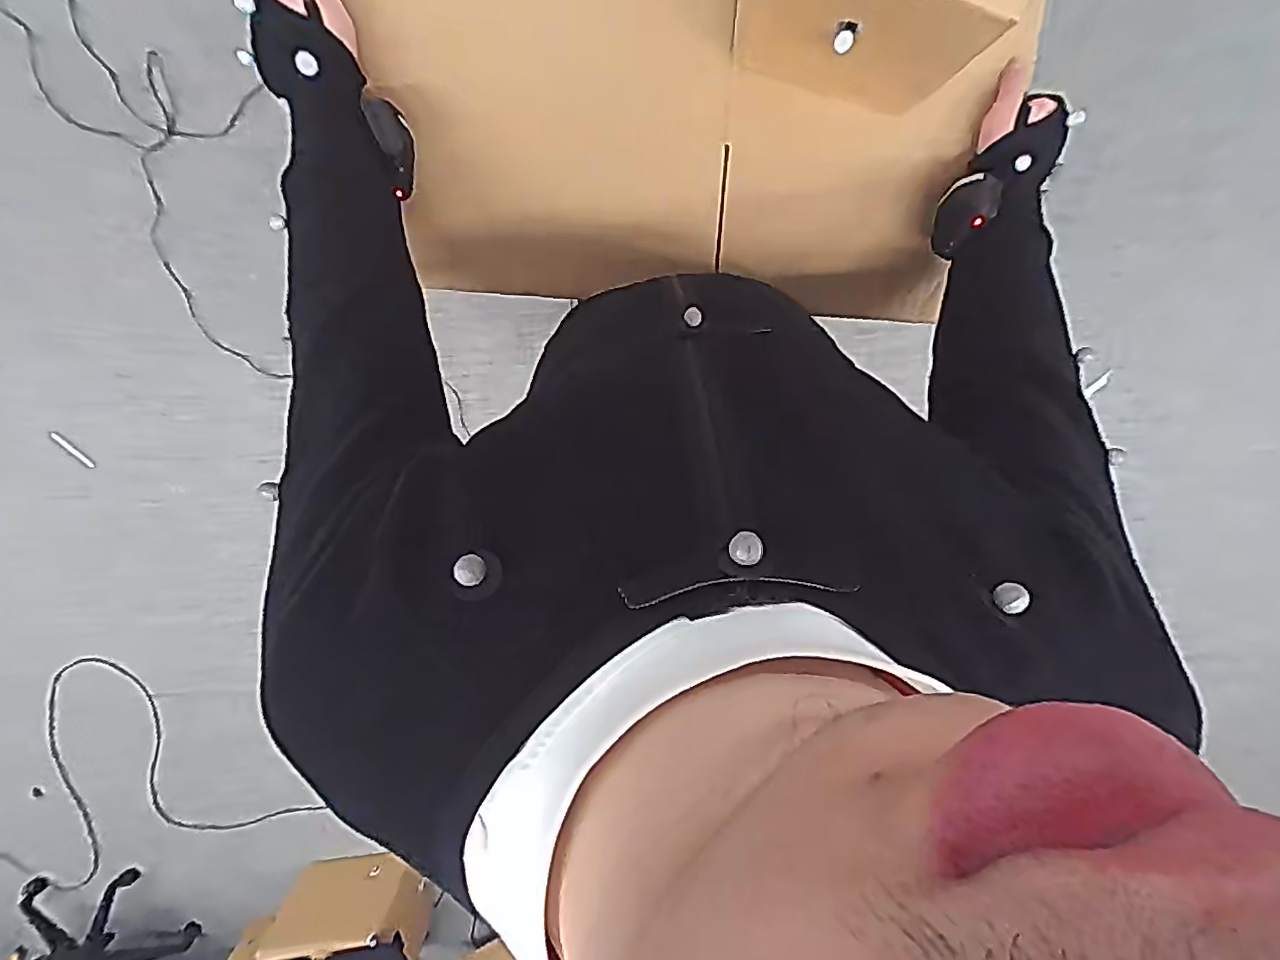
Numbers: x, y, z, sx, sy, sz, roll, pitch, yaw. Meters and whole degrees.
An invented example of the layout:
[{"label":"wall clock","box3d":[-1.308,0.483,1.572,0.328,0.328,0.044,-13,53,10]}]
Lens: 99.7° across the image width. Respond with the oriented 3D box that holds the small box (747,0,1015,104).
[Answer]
[{"label":"small box","box3d":[0.202,-0.449,0.444,0.179,0.176,0.168,14,103,-4]}]
